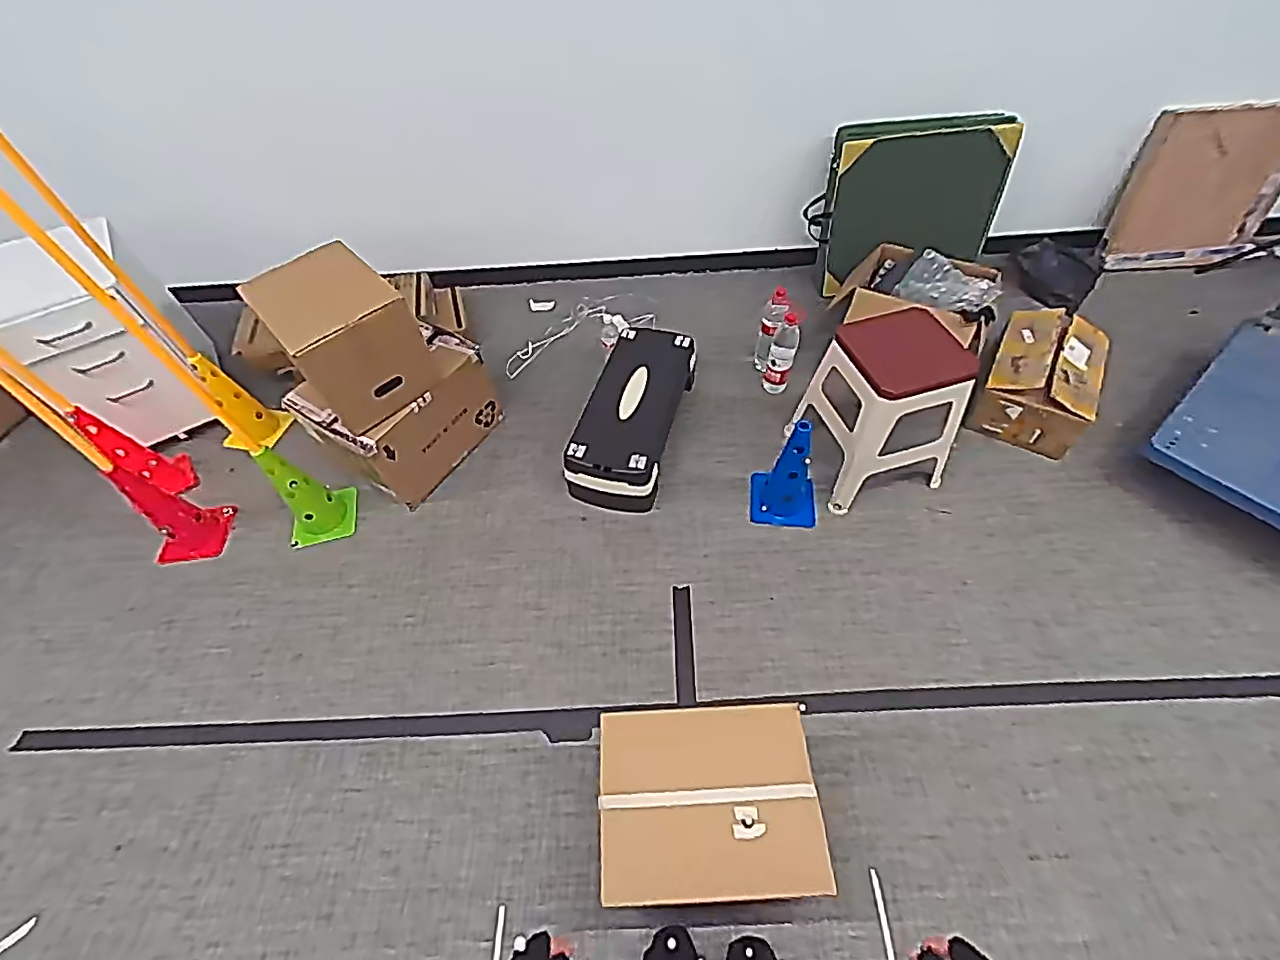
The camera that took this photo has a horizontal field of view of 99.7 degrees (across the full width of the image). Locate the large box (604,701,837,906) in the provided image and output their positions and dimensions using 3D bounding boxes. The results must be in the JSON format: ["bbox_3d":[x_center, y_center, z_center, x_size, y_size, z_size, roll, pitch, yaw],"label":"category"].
[{"bbox_3d":[0.136,0.675,1.130,0.408,0.320,0.320,-3,54,0],"label":"large box"}]
